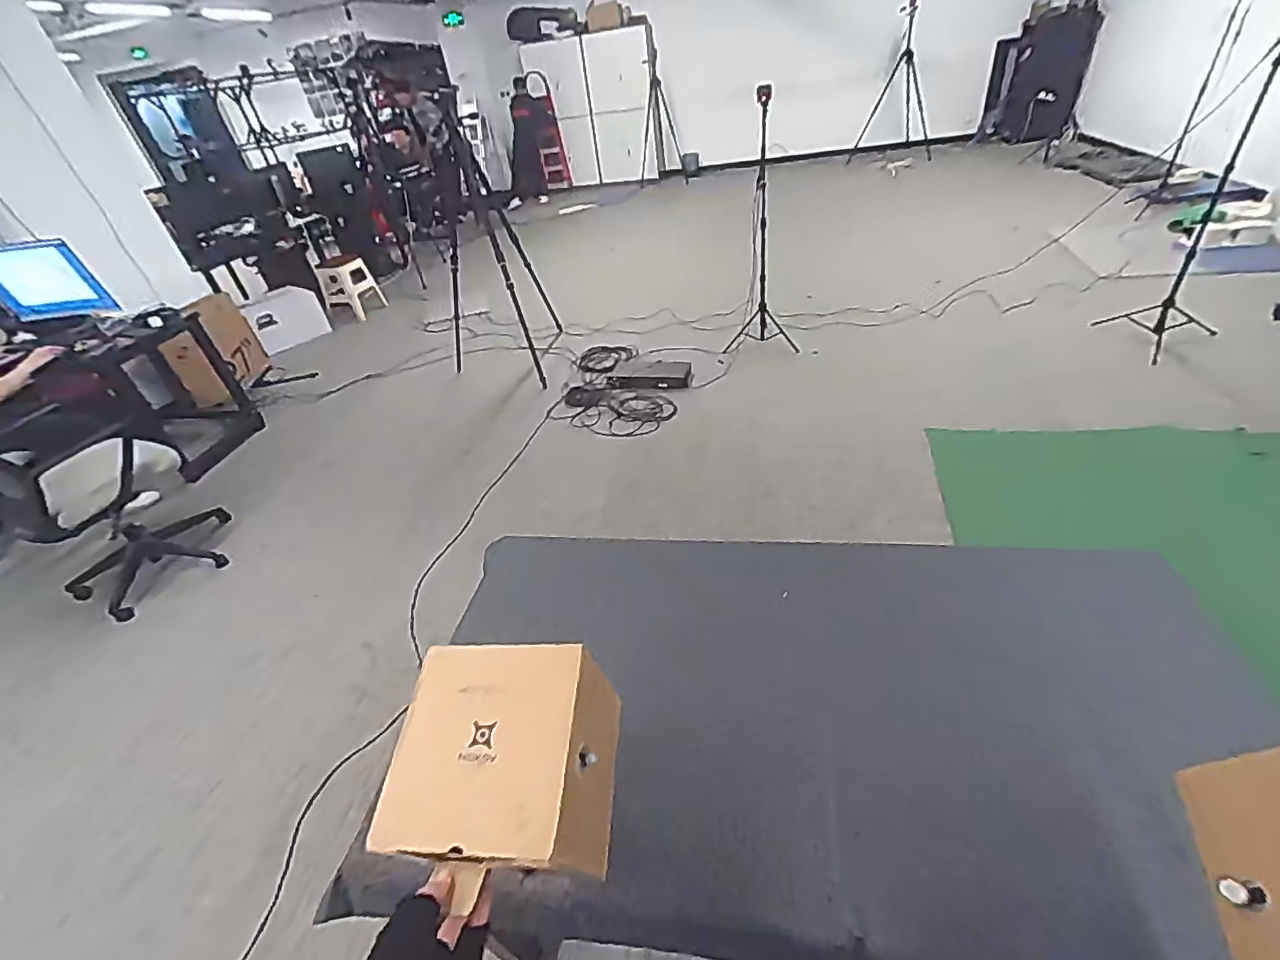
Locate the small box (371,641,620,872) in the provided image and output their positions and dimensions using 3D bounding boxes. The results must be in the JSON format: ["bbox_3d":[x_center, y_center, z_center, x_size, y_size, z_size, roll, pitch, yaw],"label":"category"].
[{"bbox_3d":[-0.121,0.276,0.539,0.168,0.176,0.179,-3,50,11],"label":"small box"}]

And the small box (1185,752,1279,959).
[{"bbox_3d":[0.522,0.287,0.344,0.168,0.176,0.179,5,56,12],"label":"small box"}]
